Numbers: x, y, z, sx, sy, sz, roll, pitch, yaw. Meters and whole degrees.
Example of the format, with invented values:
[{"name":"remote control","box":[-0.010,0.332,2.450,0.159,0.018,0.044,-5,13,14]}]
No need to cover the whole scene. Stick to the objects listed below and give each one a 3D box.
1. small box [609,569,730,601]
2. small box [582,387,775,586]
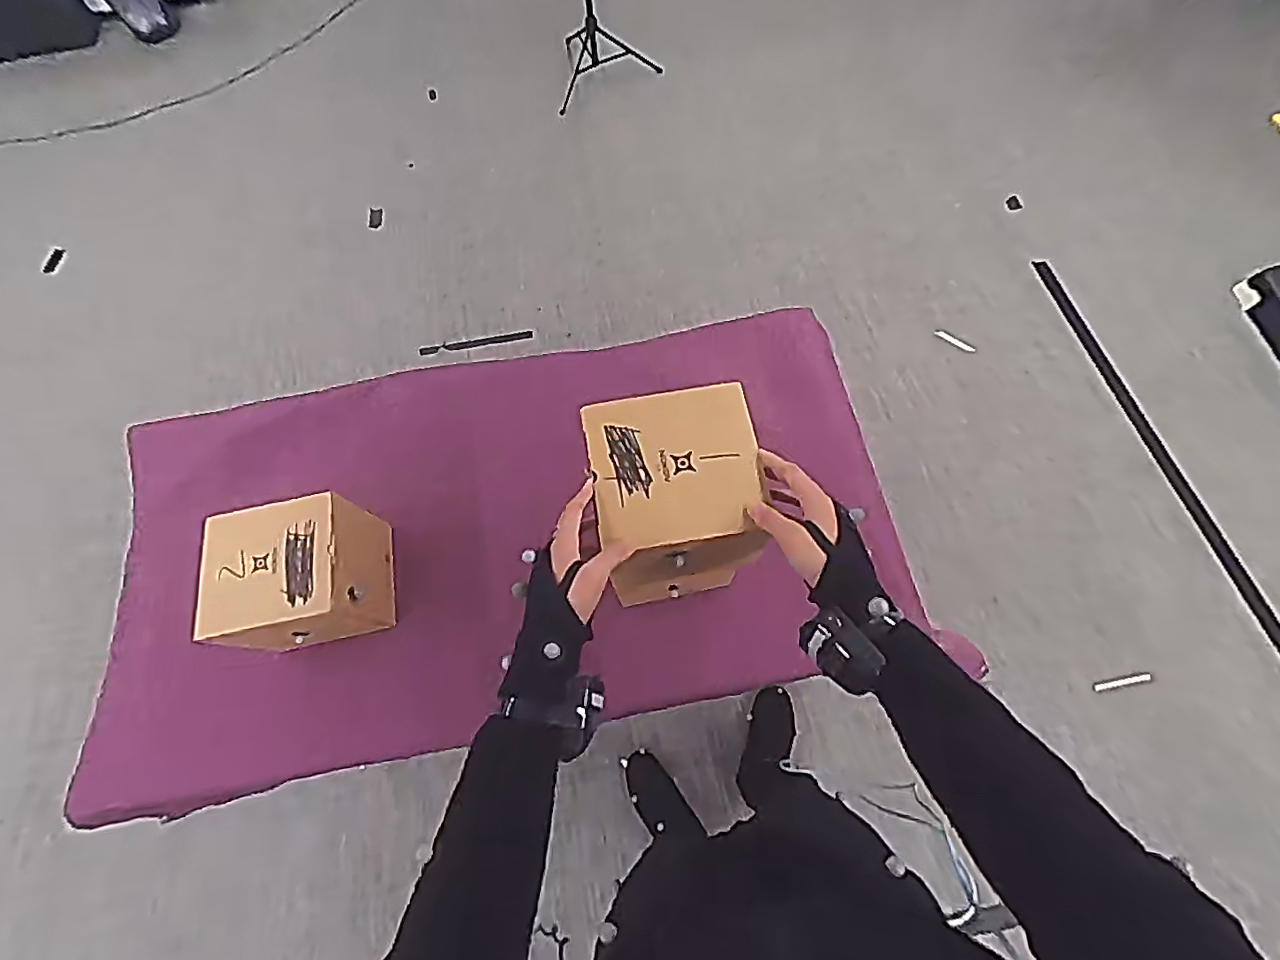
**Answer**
[{"name":"small box","box":[0.035,0.070,0.777,0.168,0.176,0.179,-11,68,-2]},{"name":"small box","box":[0.038,0.017,0.622,0.179,0.176,0.168,-9,68,-2]}]
